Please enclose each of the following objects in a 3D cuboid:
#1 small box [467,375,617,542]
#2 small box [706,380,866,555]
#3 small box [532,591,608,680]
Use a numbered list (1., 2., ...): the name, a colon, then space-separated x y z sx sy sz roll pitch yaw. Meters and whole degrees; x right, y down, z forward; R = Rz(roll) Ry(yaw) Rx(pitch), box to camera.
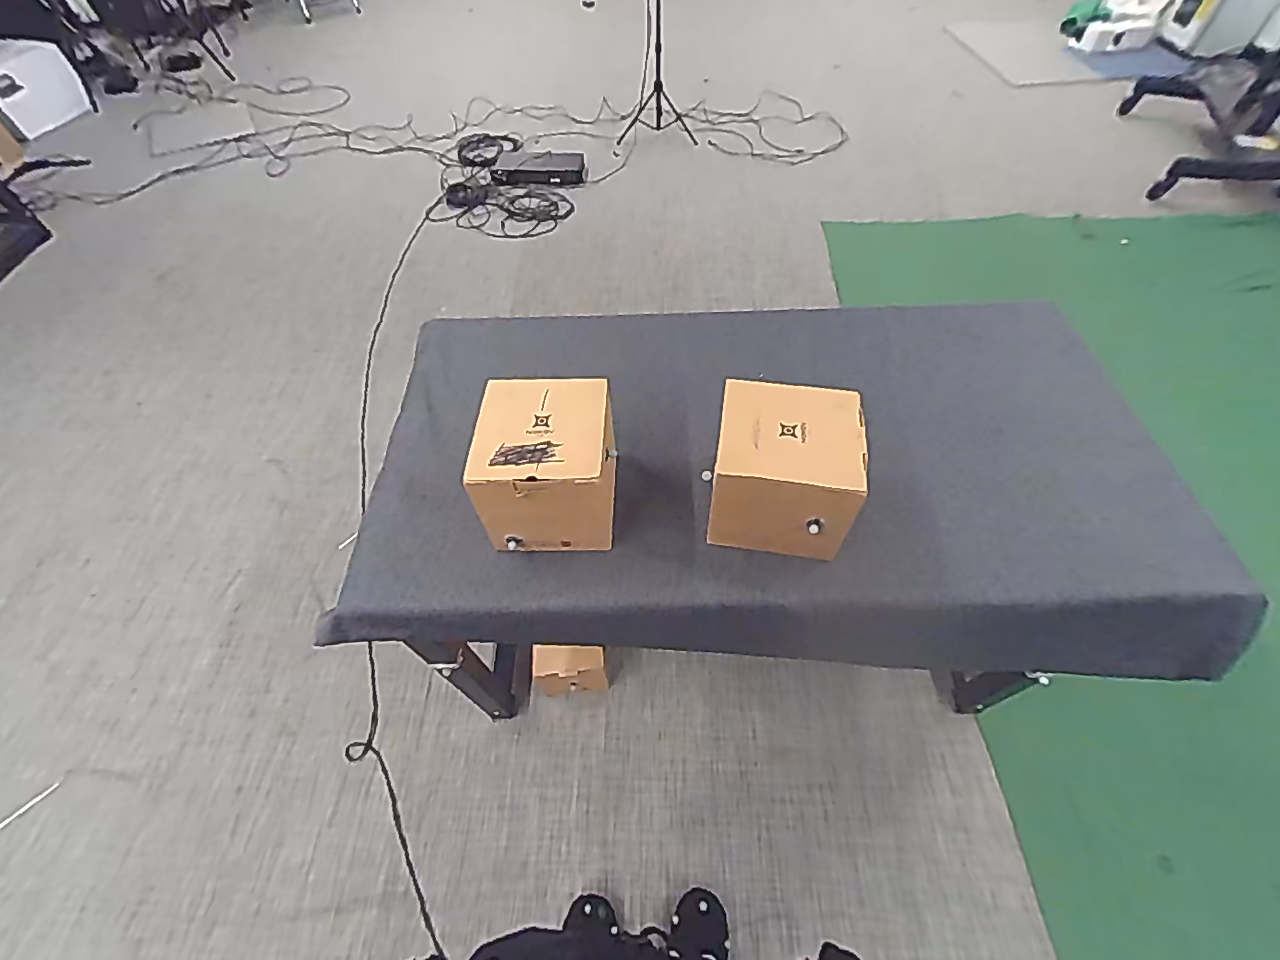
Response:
1. small box: -0.121 -0.026 0.754 0.168 0.176 0.179 1 53 2
2. small box: 0.191 -0.012 0.740 0.179 0.176 0.168 7 54 8
3. small box: -0.170 0.395 1.354 0.168 0.176 0.179 -4 56 -2
